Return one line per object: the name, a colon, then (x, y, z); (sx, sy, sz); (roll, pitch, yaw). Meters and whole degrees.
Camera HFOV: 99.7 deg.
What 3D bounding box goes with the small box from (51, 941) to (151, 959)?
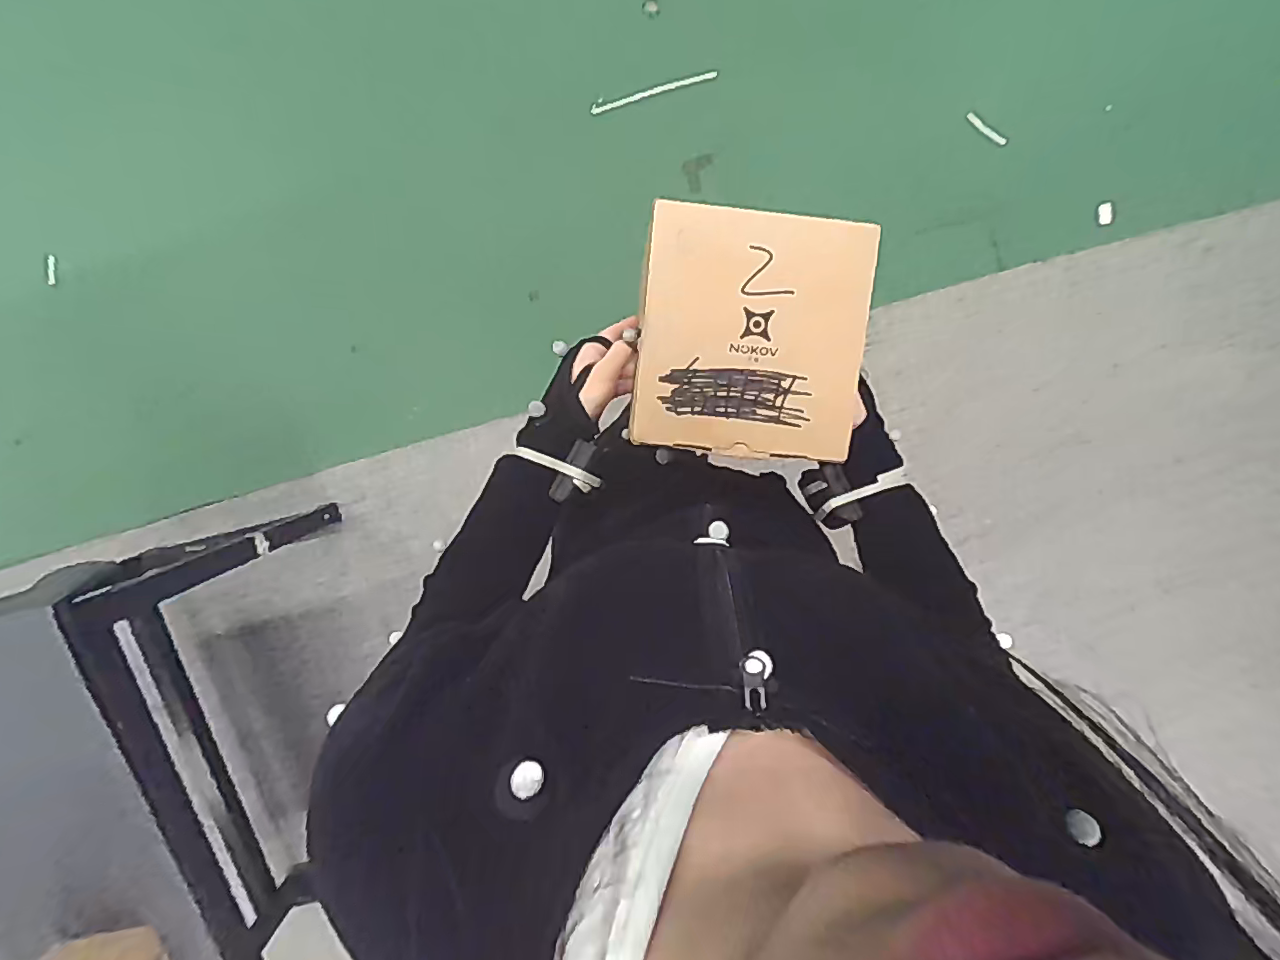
small box: (-0.871, 0.847, 0.808); (0.179, 0.176, 0.168); (-13, 100, 3)
